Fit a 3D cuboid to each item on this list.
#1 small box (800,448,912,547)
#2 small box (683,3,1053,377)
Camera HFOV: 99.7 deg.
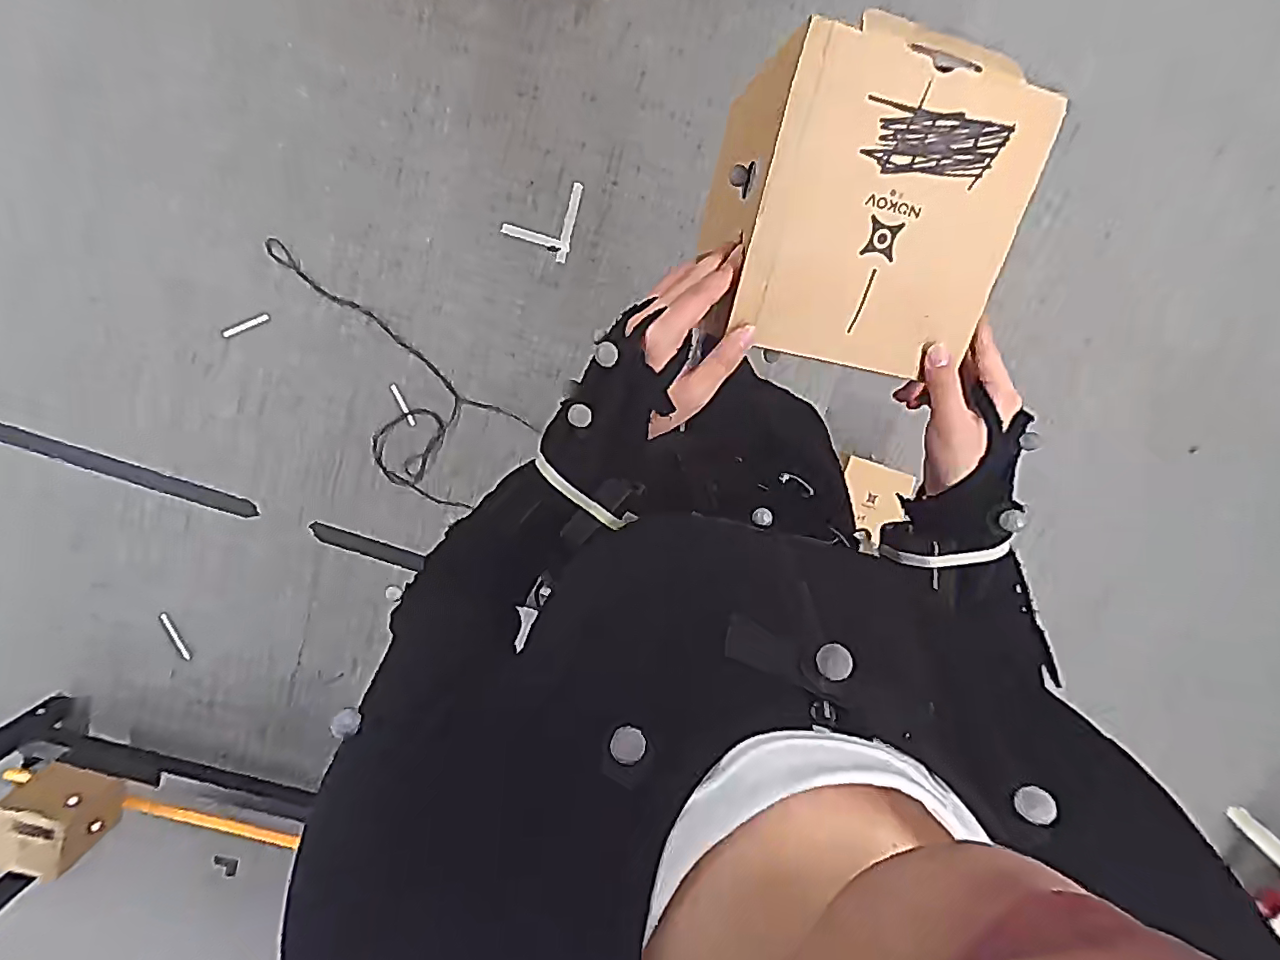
[{"bbox_3d":[0.507,0.034,1.300,0.168,0.176,0.179,18,101,-5],"label":"small box"},{"bbox_3d":[0.137,-0.191,0.402,0.168,0.176,0.179,9,110,-9],"label":"small box"}]
